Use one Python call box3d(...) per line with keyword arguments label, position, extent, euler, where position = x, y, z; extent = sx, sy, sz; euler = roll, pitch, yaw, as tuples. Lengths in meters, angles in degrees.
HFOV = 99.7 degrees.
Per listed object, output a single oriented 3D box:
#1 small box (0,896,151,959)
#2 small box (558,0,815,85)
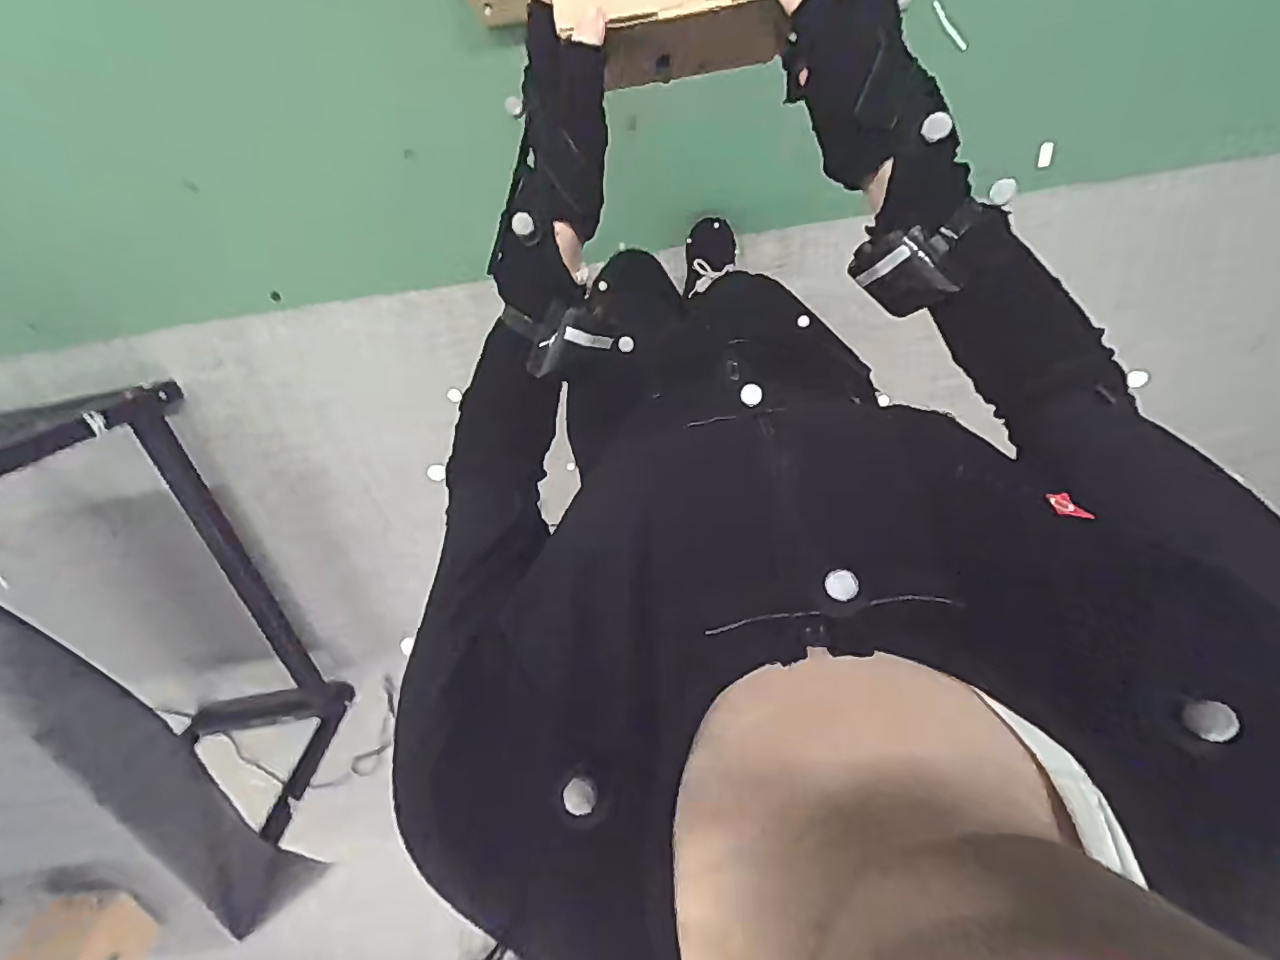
box3d(label="small box", position=(-1.182, 0.988, 1.110), extent=(0.168, 0.176, 0.179), euler=(-7, 117, 0))
box3d(label="small box", position=(0.019, -0.394, 0.356), extent=(0.168, 0.176, 0.179), euler=(-8, 117, 3))
